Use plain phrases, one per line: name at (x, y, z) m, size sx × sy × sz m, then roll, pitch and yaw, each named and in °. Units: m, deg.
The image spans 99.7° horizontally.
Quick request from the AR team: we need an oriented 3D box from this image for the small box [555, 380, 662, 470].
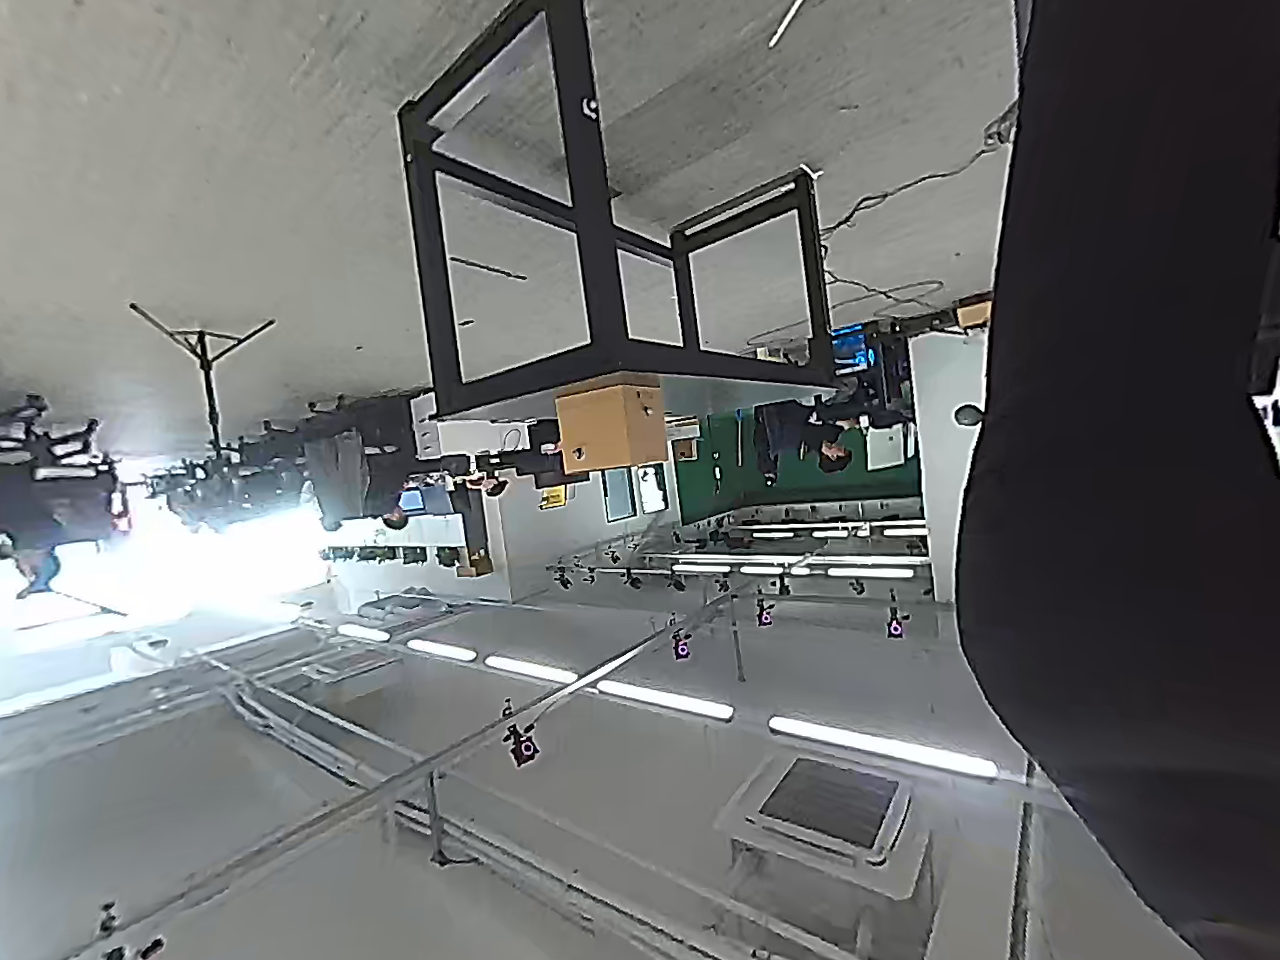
small box at (-0.071, -0.117, 1.181) m, size 0.179 × 0.176 × 0.168 m, roll -5°, pitch -176°, yaw 31°
